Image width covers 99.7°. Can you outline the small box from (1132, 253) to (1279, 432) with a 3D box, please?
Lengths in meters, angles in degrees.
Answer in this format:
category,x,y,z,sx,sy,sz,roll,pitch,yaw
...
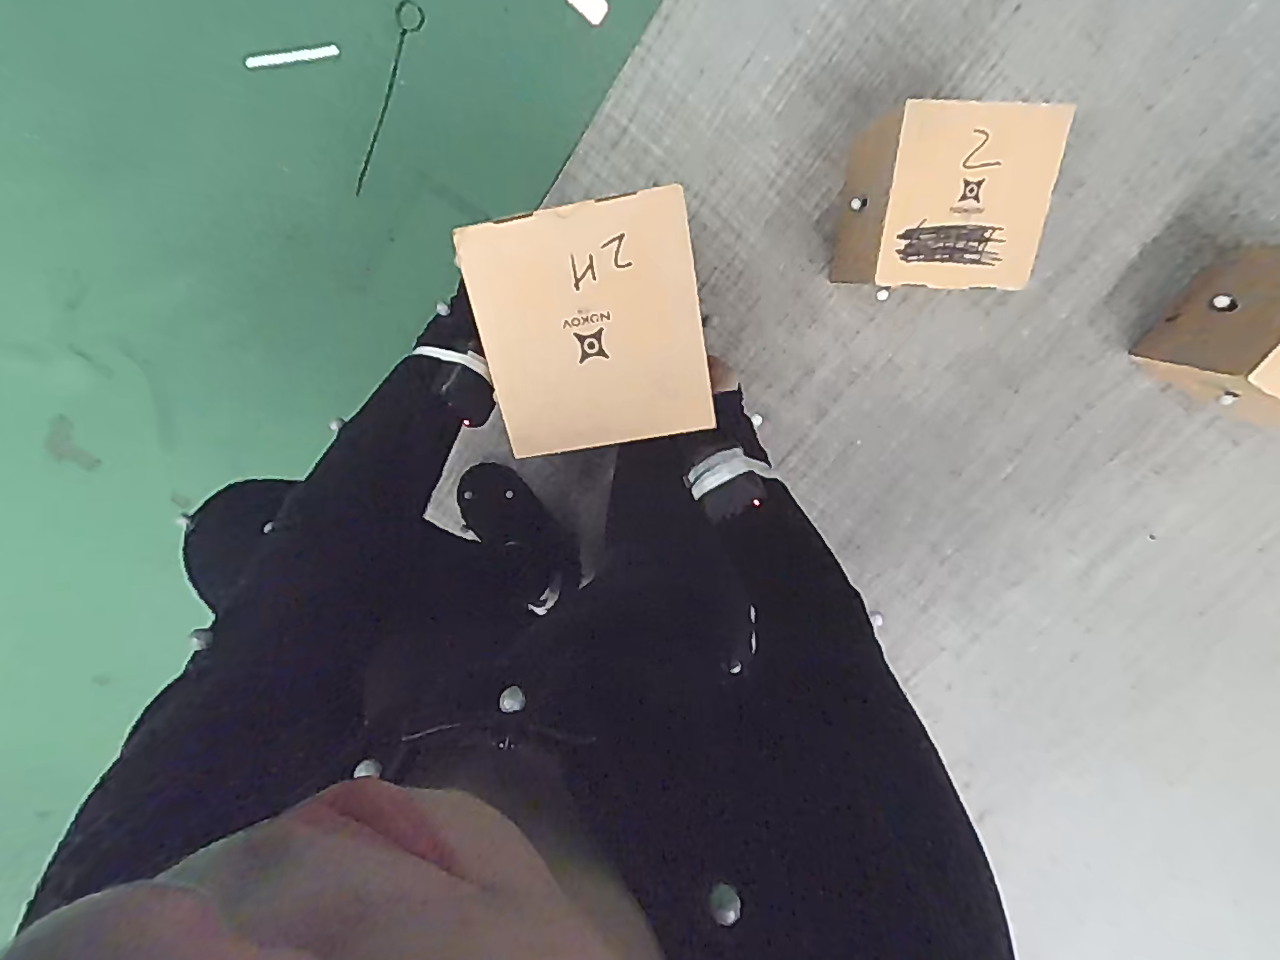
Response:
category,x,y,z,sx,sy,sz,roll,pitch,yaw
small box,0.795,-0.167,0.677,0.179,0.176,0.168,28,110,-7
